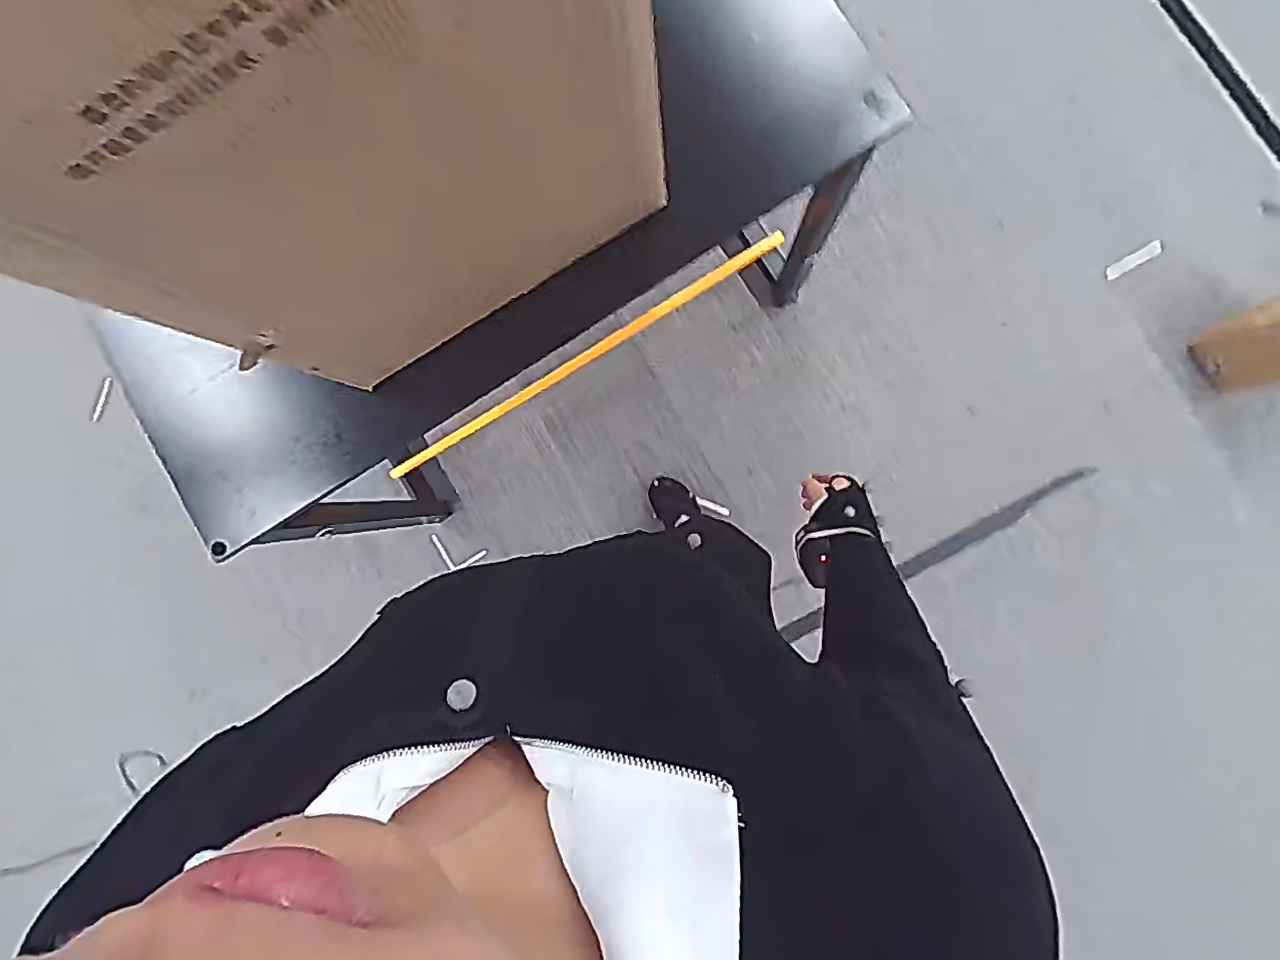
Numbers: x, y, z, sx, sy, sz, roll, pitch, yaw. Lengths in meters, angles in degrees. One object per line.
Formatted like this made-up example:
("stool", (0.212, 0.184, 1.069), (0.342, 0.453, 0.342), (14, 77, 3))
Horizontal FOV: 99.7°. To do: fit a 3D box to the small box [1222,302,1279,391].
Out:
("small box", (1.511, -0.324, 1.221), (0.179, 0.176, 0.168), (-33, 86, 5))
